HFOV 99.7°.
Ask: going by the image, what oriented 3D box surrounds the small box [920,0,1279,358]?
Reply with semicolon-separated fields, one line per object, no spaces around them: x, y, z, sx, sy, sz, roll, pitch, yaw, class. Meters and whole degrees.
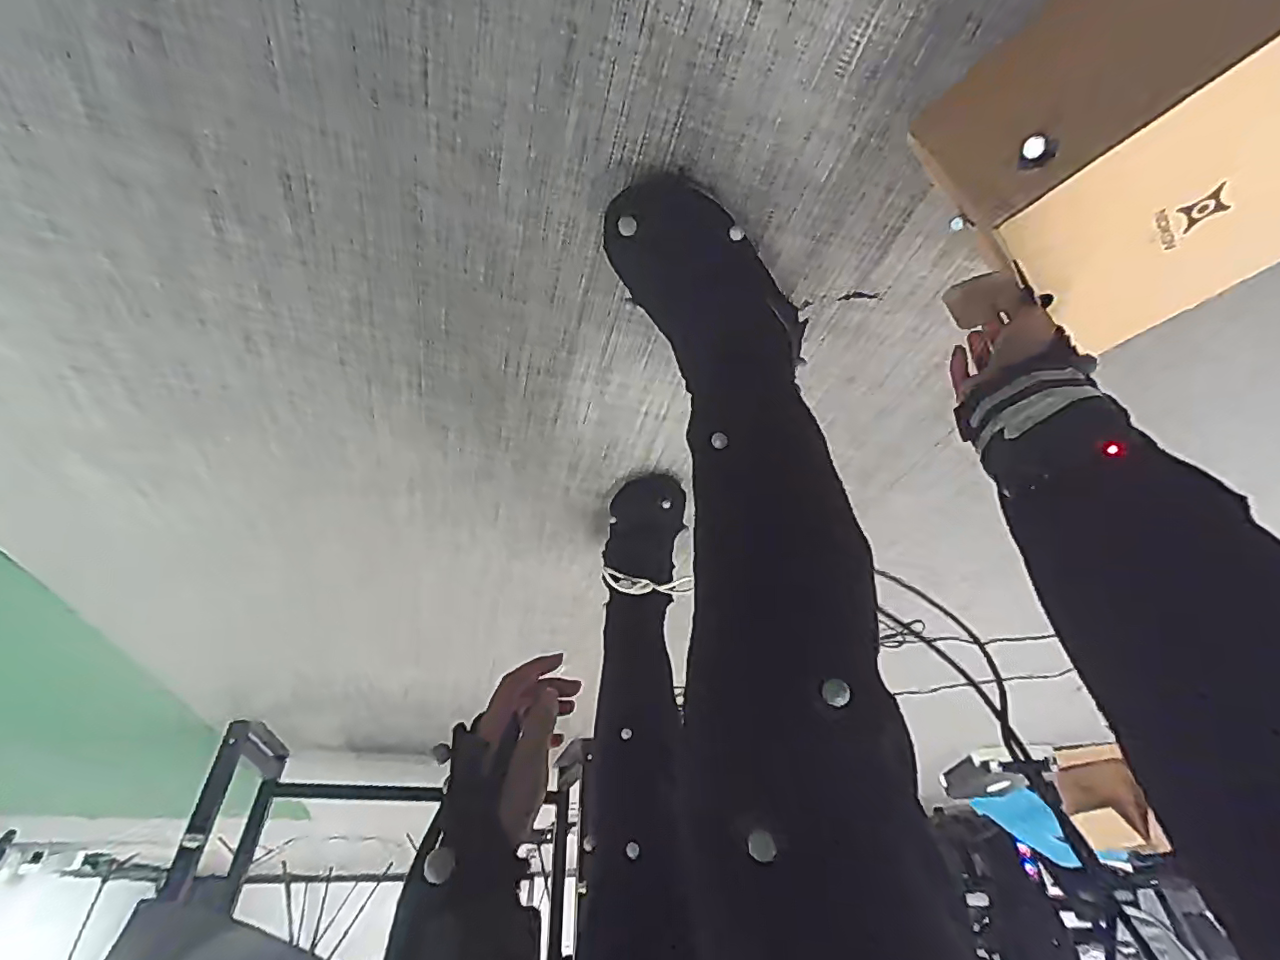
0.332;-0.227;0.369;0.168;0.176;0.179;29;133;-33;small box
